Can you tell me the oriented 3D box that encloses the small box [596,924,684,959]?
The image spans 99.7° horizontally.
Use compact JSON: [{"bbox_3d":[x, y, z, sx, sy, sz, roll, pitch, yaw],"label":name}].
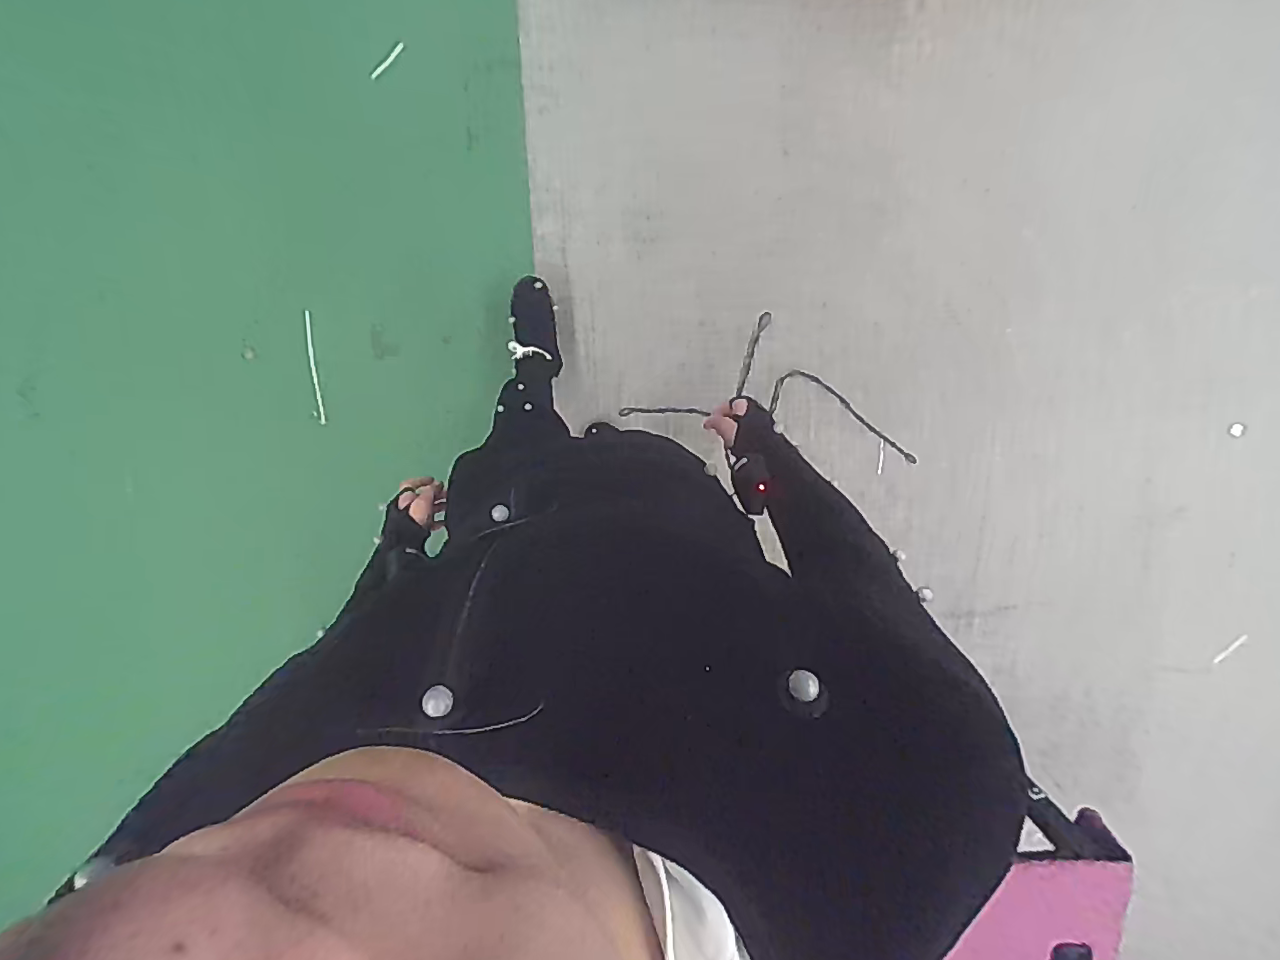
[{"bbox_3d":[0.005,0.972,0.994,0.168,0.176,0.179,-5,102,-2],"label":"small box"}]
